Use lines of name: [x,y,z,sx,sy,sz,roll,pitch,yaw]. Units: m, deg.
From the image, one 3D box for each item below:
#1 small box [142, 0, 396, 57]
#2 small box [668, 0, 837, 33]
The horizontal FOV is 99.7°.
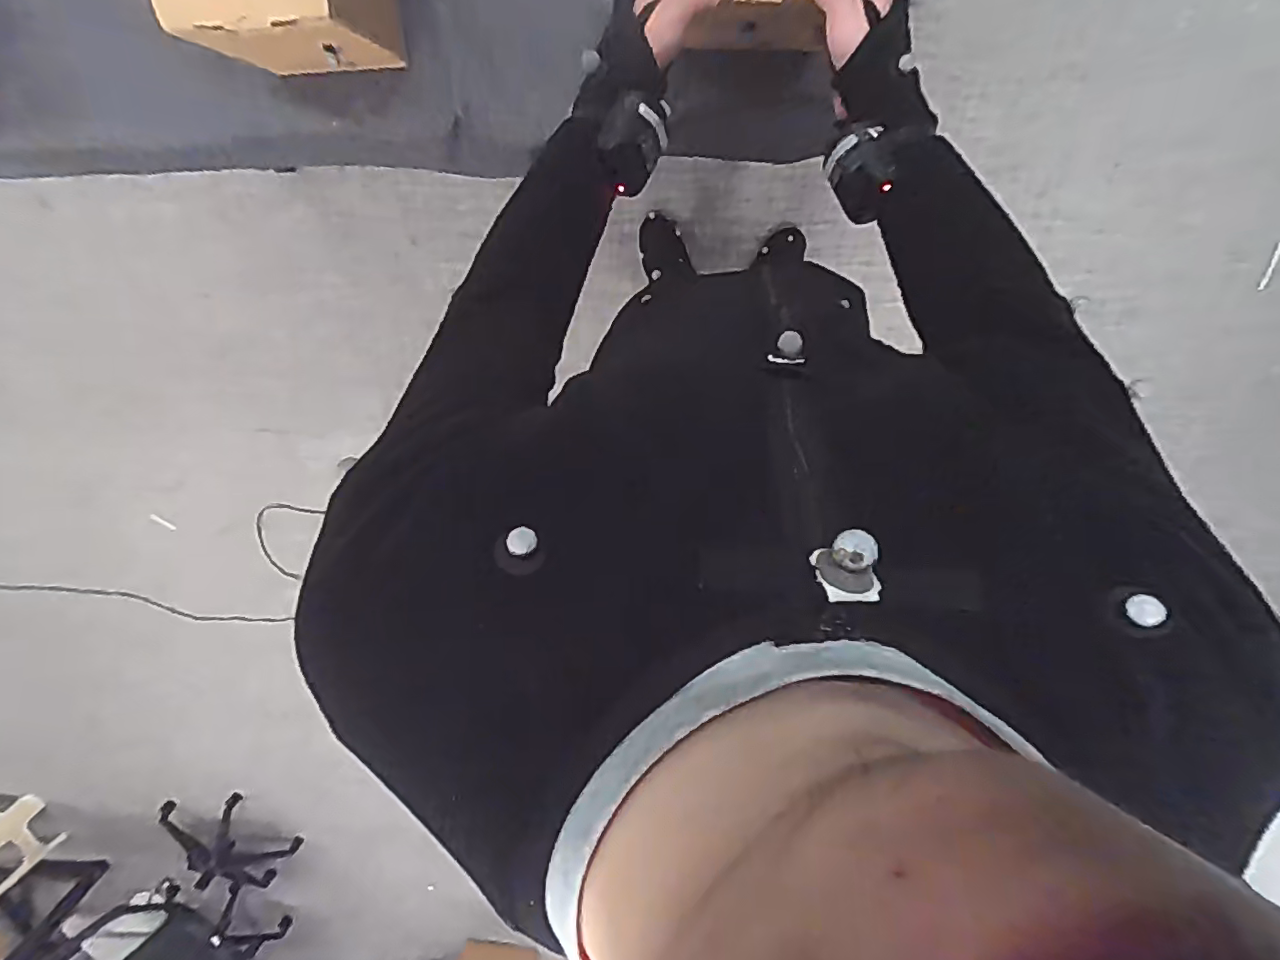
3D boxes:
small box: [-0.358,-0.528,0.512,0.168,0.176,0.179,-1,115,3]
small box: [0.110,-0.524,0.477,0.168,0.176,0.179,4,116,4]
